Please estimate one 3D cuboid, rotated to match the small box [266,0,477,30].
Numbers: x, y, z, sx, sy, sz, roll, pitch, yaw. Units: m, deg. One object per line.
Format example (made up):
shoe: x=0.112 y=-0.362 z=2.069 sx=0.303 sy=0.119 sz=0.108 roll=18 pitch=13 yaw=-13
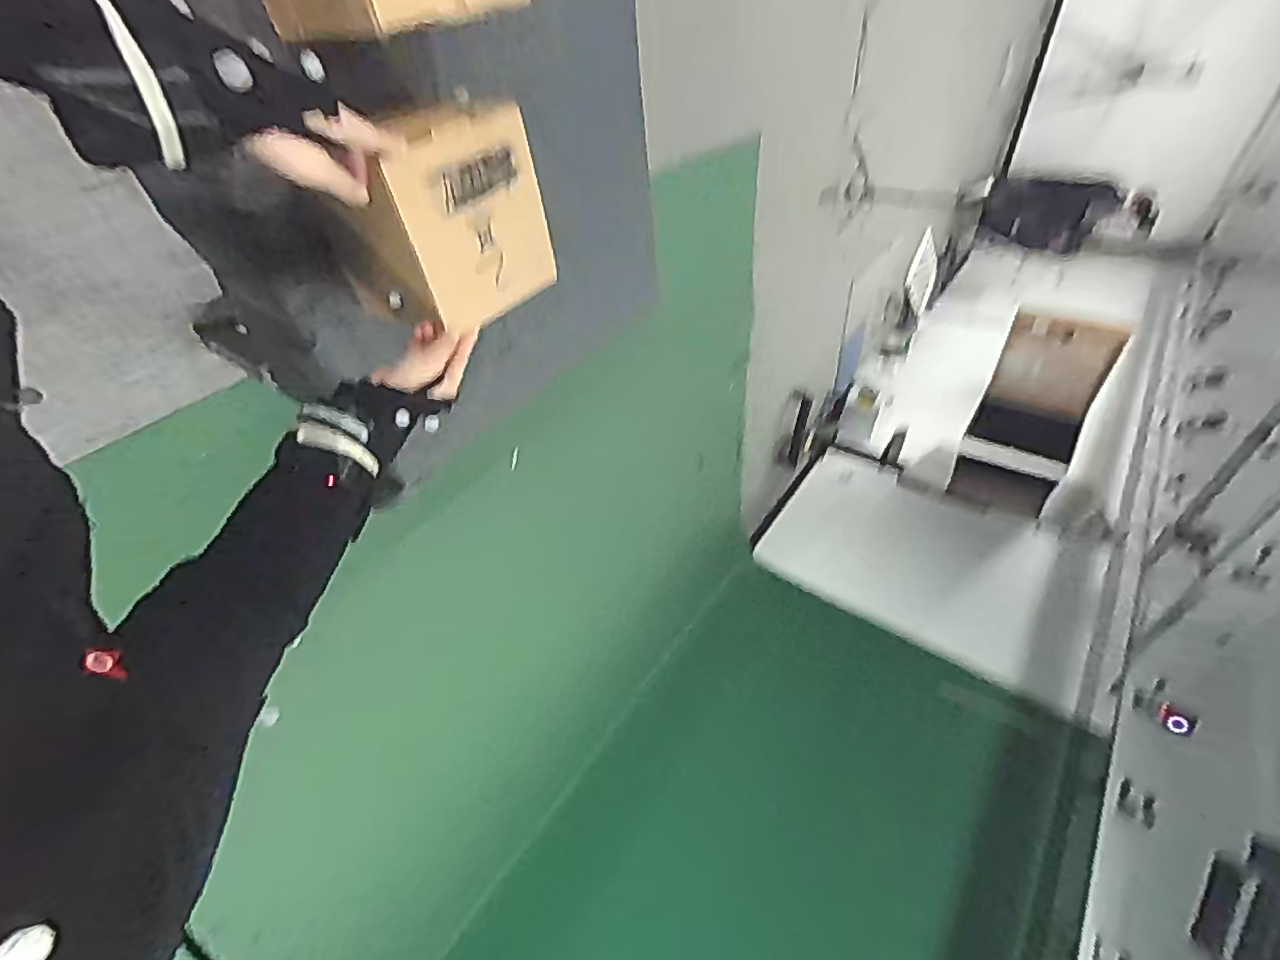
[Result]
small box: x=-0.227 y=-0.487 z=0.430 sx=0.168 sy=0.176 sz=0.179 roll=-46 pitch=146 yaw=-31
